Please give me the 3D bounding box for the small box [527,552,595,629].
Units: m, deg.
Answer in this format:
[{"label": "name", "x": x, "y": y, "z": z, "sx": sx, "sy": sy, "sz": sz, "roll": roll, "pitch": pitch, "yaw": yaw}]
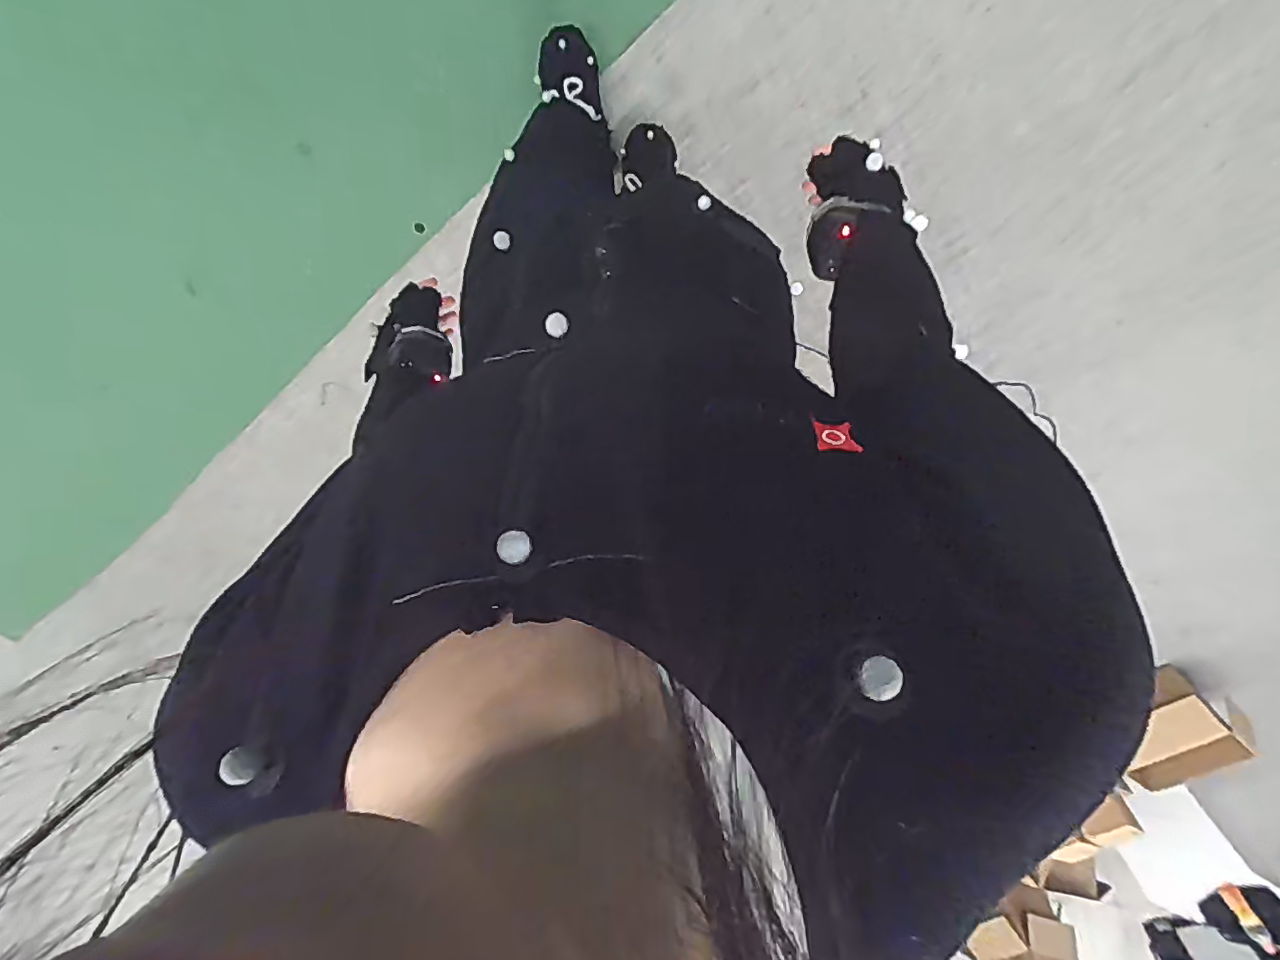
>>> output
[{"label": "small box", "x": -0.273, "y": 0.386, "z": 1.897, "sx": 0.168, "sy": 0.176, "sz": 0.179, "roll": 37, "pitch": 119, "yaw": -25}]
